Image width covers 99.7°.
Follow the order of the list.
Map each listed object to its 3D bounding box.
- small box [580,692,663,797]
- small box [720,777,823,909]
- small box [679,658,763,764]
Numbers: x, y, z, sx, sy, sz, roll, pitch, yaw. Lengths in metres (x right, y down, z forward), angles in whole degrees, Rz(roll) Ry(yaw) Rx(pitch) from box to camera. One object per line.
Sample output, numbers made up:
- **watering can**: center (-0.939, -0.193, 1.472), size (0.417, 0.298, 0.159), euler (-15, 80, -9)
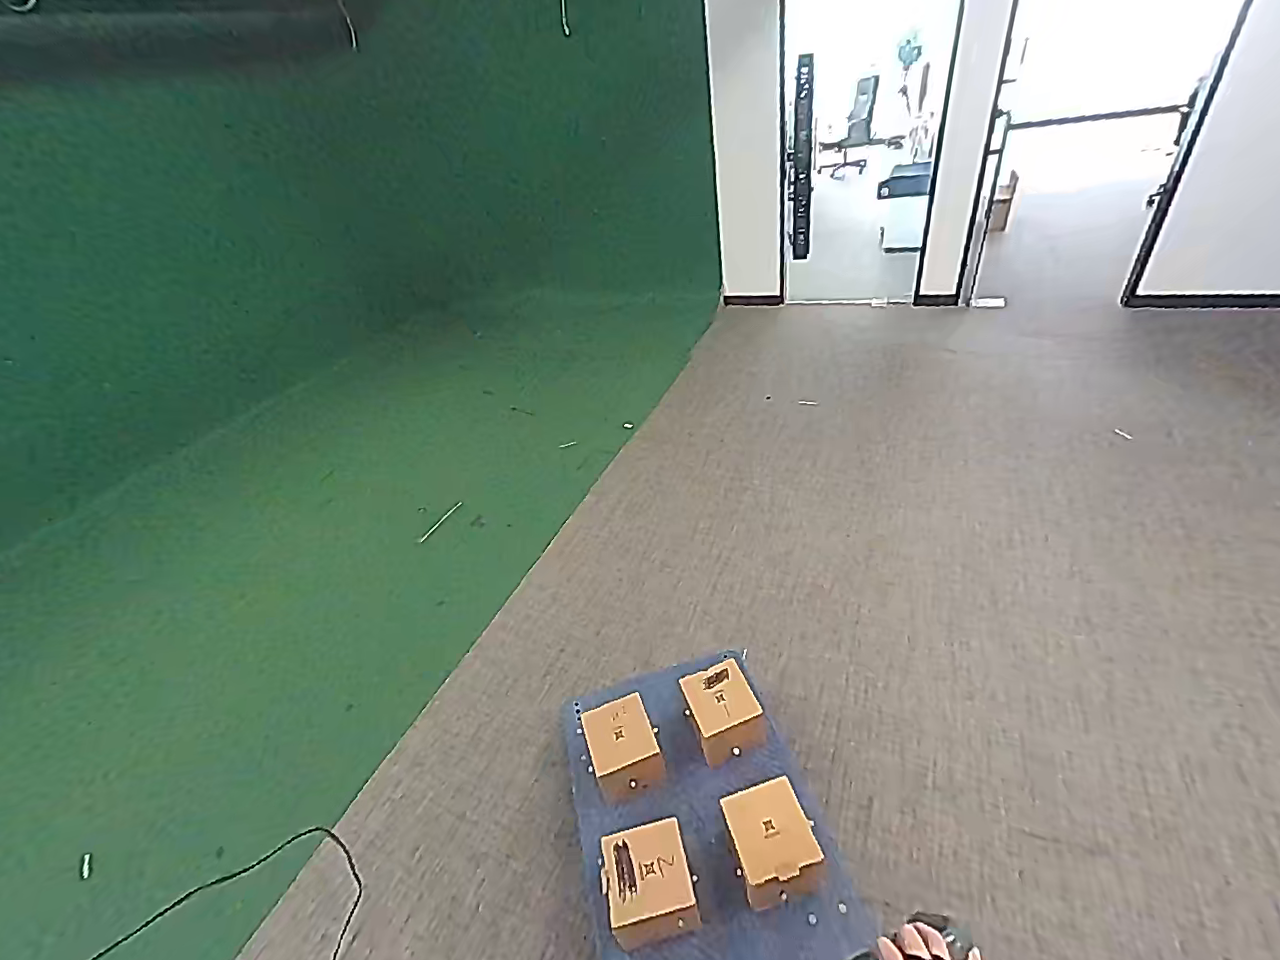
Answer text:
- **small box**: center (-0.046, 0.699, 1.417), size (0.168, 0.176, 0.179), euler (-17, 38, -10)
- **small box**: center (0.287, 0.807, 1.205), size (0.168, 0.176, 0.179), euler (-16, 38, -6)
- **small box**: center (0.216, 0.622, 1.455), size (0.168, 0.176, 0.179), euler (-18, 39, -9)
